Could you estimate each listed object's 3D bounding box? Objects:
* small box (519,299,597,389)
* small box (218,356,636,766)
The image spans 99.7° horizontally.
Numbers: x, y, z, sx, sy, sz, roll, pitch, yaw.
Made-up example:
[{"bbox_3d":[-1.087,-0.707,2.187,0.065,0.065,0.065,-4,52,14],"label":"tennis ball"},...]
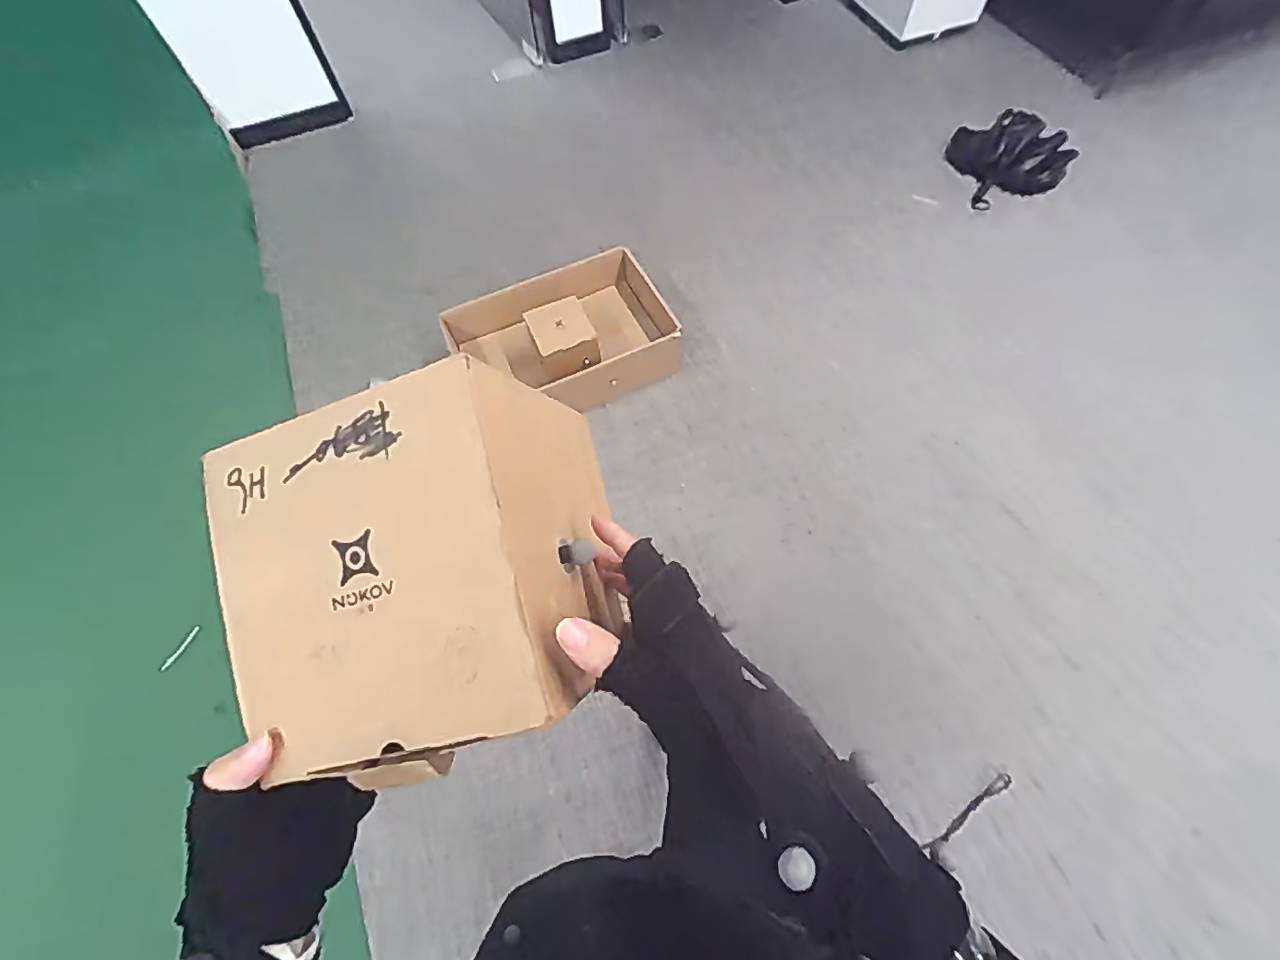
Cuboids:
[{"bbox_3d":[-0.236,-0.390,1.587,0.168,0.176,0.179,-22,63,-11],"label":"small box"},{"bbox_3d":[-0.113,0.046,0.347,0.168,0.176,0.179,-17,83,12],"label":"small box"}]
